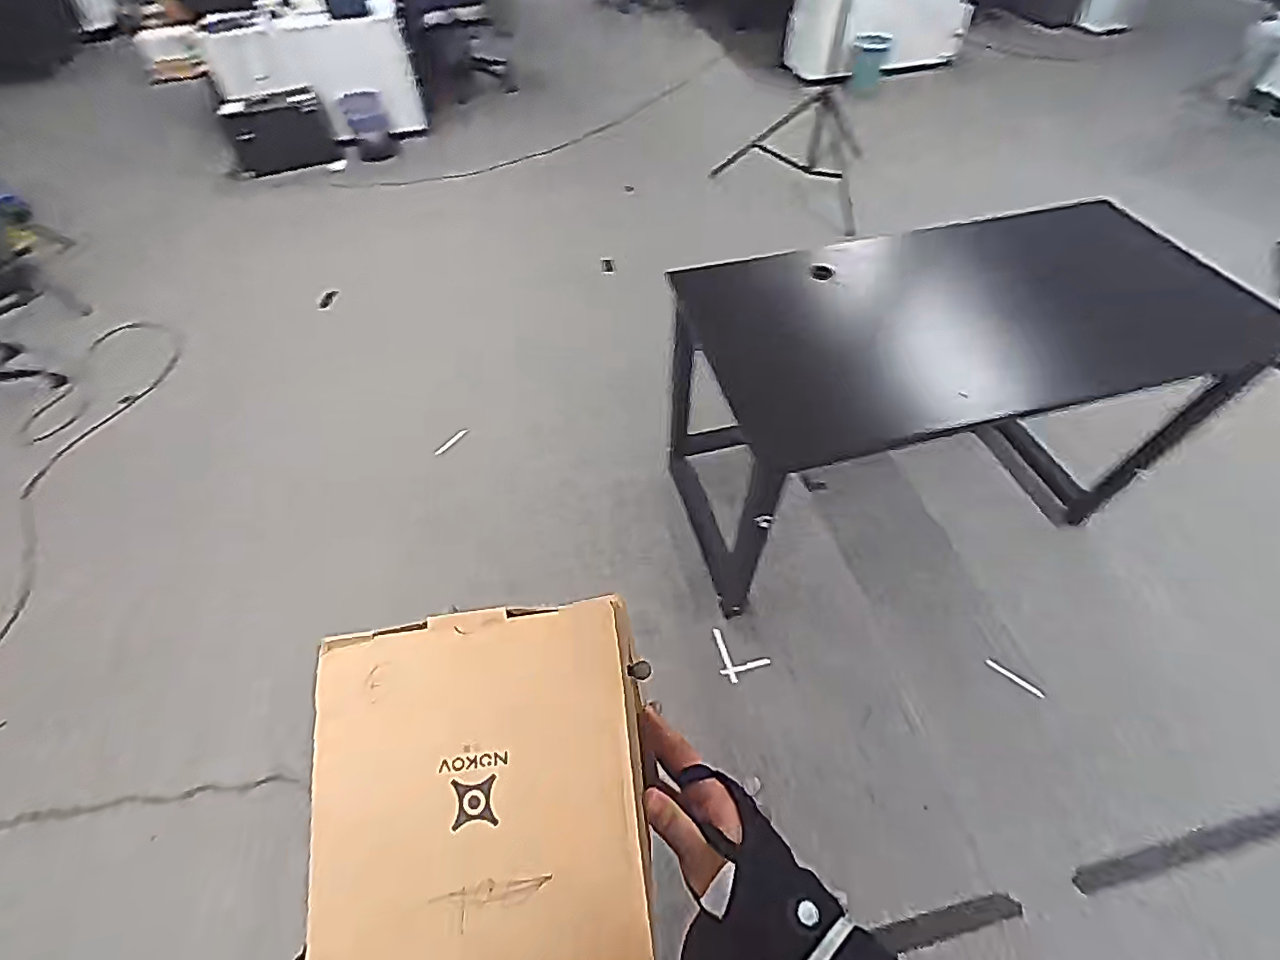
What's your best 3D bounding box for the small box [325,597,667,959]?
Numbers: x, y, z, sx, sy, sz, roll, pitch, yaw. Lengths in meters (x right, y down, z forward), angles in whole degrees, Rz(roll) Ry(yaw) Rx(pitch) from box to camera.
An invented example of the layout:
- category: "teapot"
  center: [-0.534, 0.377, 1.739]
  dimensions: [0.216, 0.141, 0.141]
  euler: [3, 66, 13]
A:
- category: "small box"
  center: [-0.076, 0.179, 0.357]
  dimensions: [0.168, 0.176, 0.179]
  euler: [-6, 74, -1]
